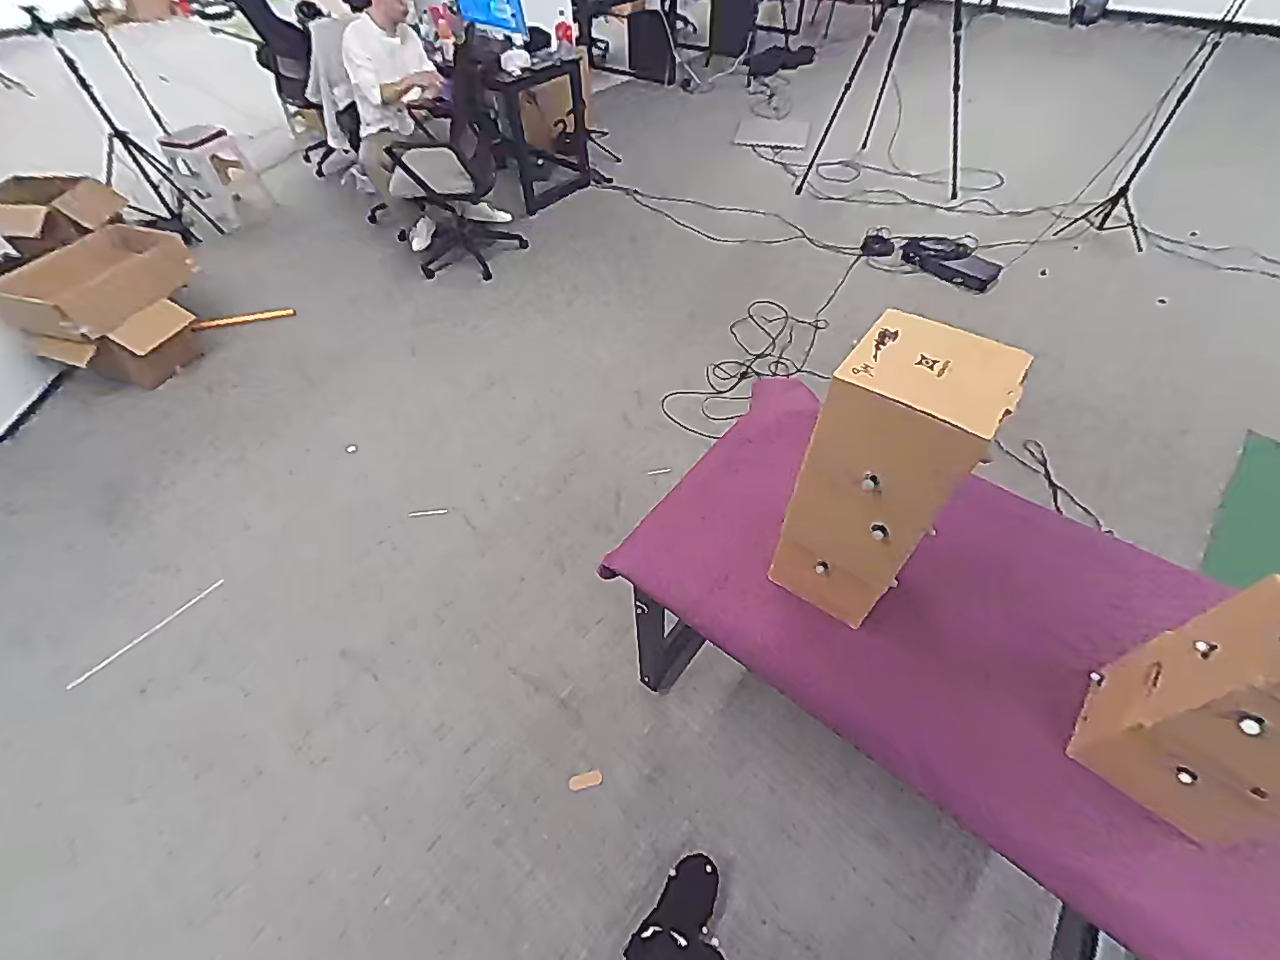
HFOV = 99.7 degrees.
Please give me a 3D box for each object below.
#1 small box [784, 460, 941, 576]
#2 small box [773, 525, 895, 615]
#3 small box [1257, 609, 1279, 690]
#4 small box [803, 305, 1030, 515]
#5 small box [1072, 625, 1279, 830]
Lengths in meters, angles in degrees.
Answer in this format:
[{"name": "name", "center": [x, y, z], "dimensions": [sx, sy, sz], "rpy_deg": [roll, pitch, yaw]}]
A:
[{"name": "small box", "center": [0.340, 0.018, 0.808], "dimensions": [0.179, 0.176, 0.168], "rpy_deg": [31, 59, 25]}, {"name": "small box", "center": [0.355, 0.111, 0.944], "dimensions": [0.179, 0.176, 0.168], "rpy_deg": [29, 59, 24]}, {"name": "small box", "center": [0.722, 0.147, 0.472], "dimensions": [0.179, 0.176, 0.168], "rpy_deg": [36, 62, 27]}, {"name": "small box", "center": [0.332, -0.081, 0.678], "dimensions": [0.179, 0.176, 0.168], "rpy_deg": [31, 59, 24]}, {"name": "small box", "center": [0.745, 0.340, 0.736], "dimensions": [0.179, 0.176, 0.168], "rpy_deg": [34, 60, 26]}]
